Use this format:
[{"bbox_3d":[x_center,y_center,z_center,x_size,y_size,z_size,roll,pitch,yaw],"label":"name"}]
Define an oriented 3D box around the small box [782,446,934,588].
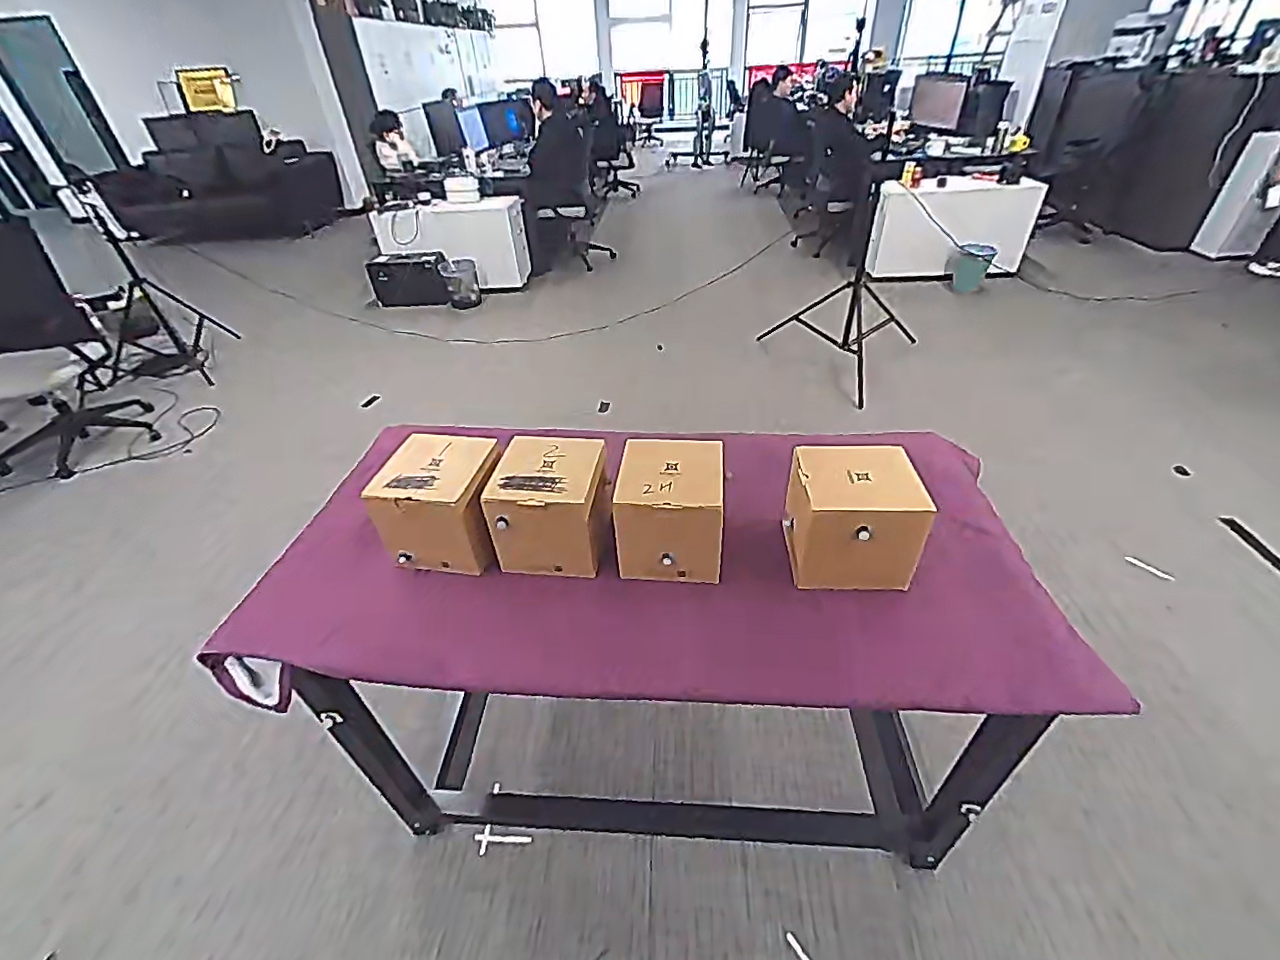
[{"bbox_3d":[0.338,0.061,0.876,0.179,0.176,0.168,0,37,5],"label":"small box"}]
